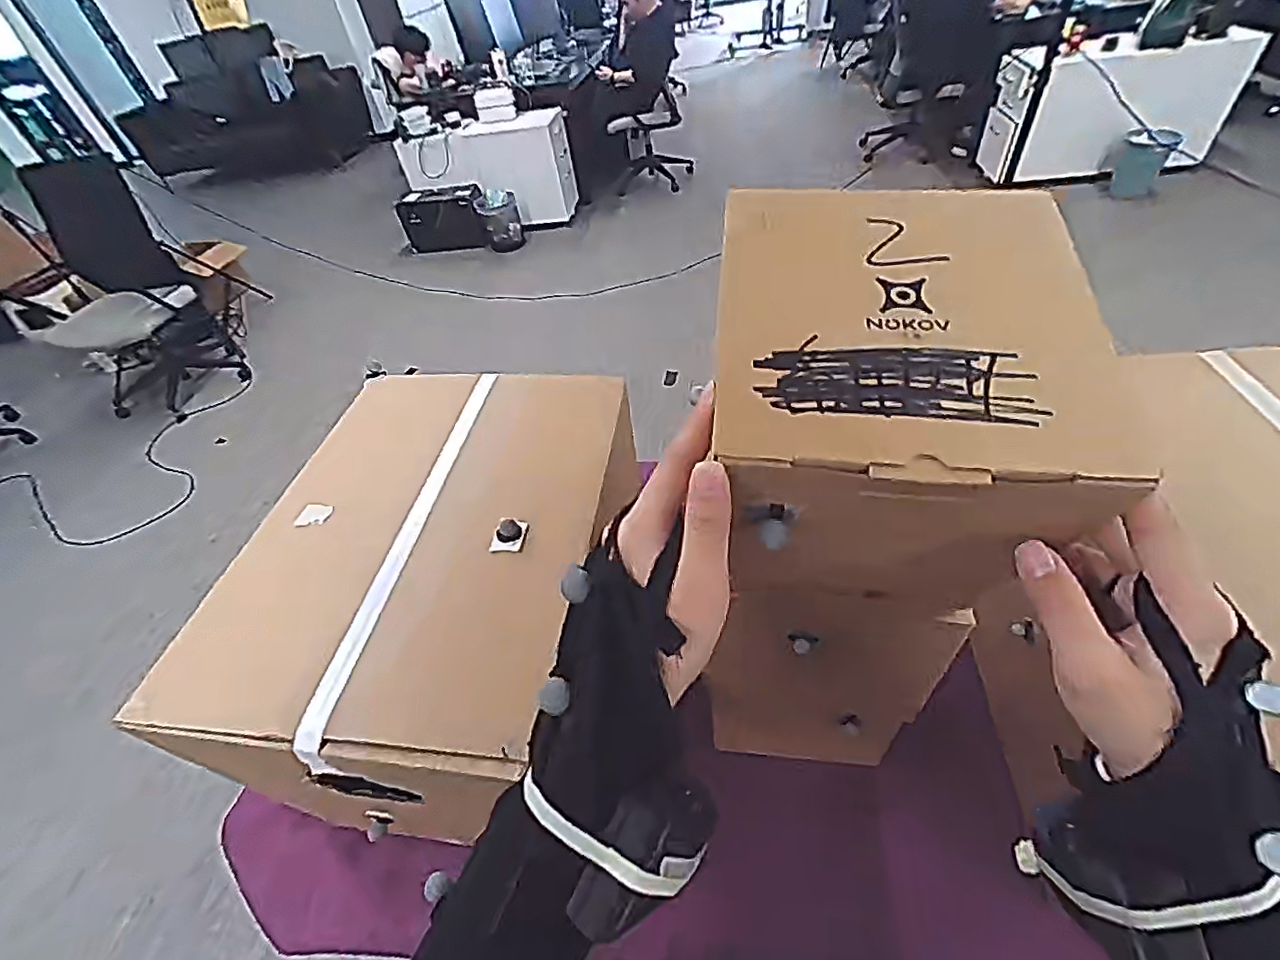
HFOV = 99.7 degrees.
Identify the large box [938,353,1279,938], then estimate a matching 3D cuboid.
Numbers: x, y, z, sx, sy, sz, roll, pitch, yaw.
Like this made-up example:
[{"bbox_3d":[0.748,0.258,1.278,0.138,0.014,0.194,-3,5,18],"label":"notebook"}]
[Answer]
[{"bbox_3d":[0.515,0.133,0.478,0.320,0.320,0.408,0,45,9],"label":"large box"}]
